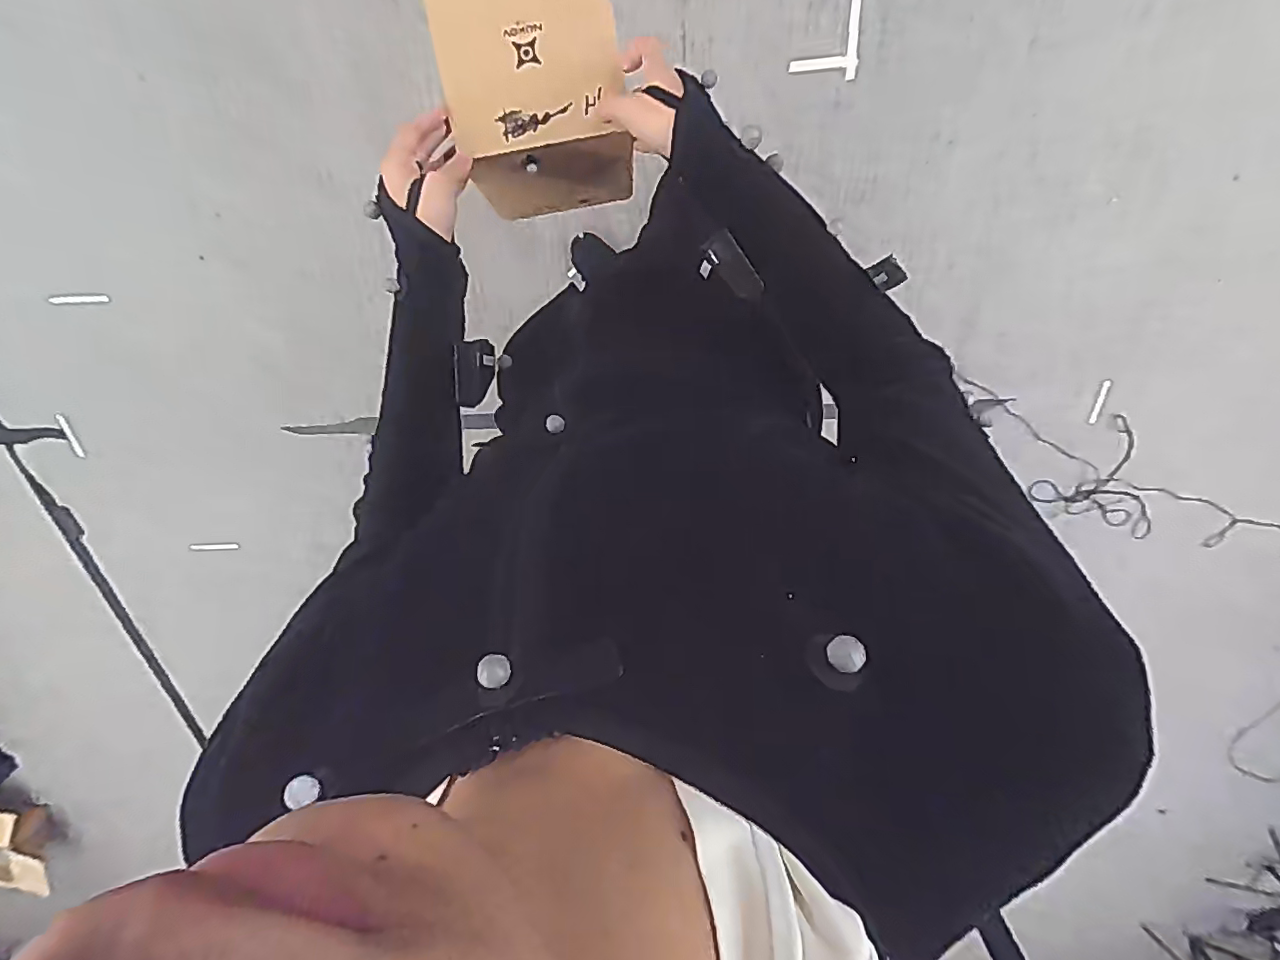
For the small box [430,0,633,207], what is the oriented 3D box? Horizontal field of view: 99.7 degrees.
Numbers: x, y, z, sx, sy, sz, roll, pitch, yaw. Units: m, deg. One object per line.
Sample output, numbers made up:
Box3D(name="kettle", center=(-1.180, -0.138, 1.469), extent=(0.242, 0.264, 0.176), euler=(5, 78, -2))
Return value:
Box3D(name="small box", center=(-0.102, -0.412, 0.556), extent=(0.168, 0.176, 0.179), euler=(-9, 97, 1))
